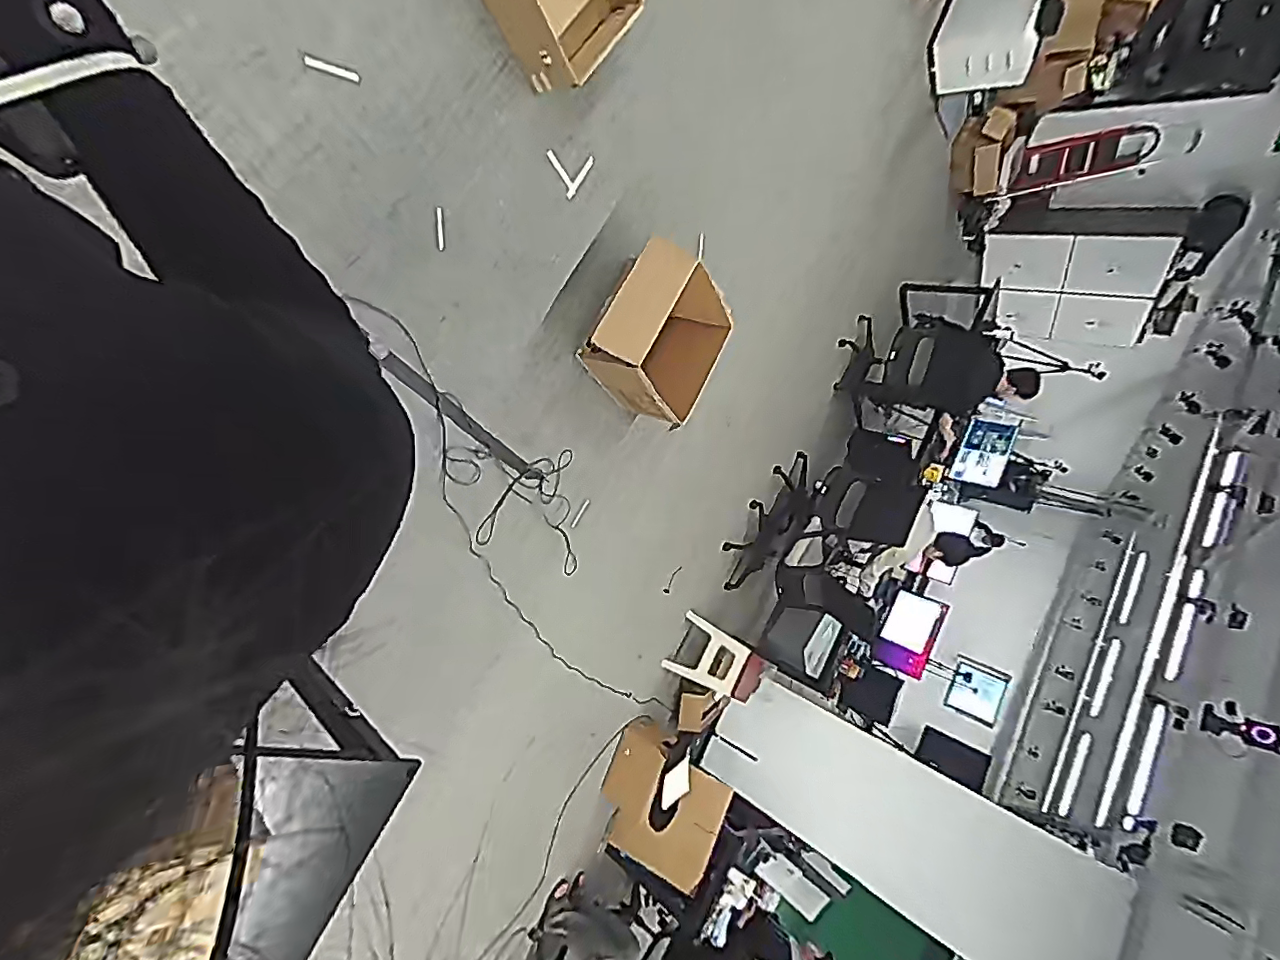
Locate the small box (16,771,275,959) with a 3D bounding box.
[{"bbox_3d":[-0.601,0.481,0.659,0.168,0.176,0.179,35,77,-54],"label":"small box"}]
